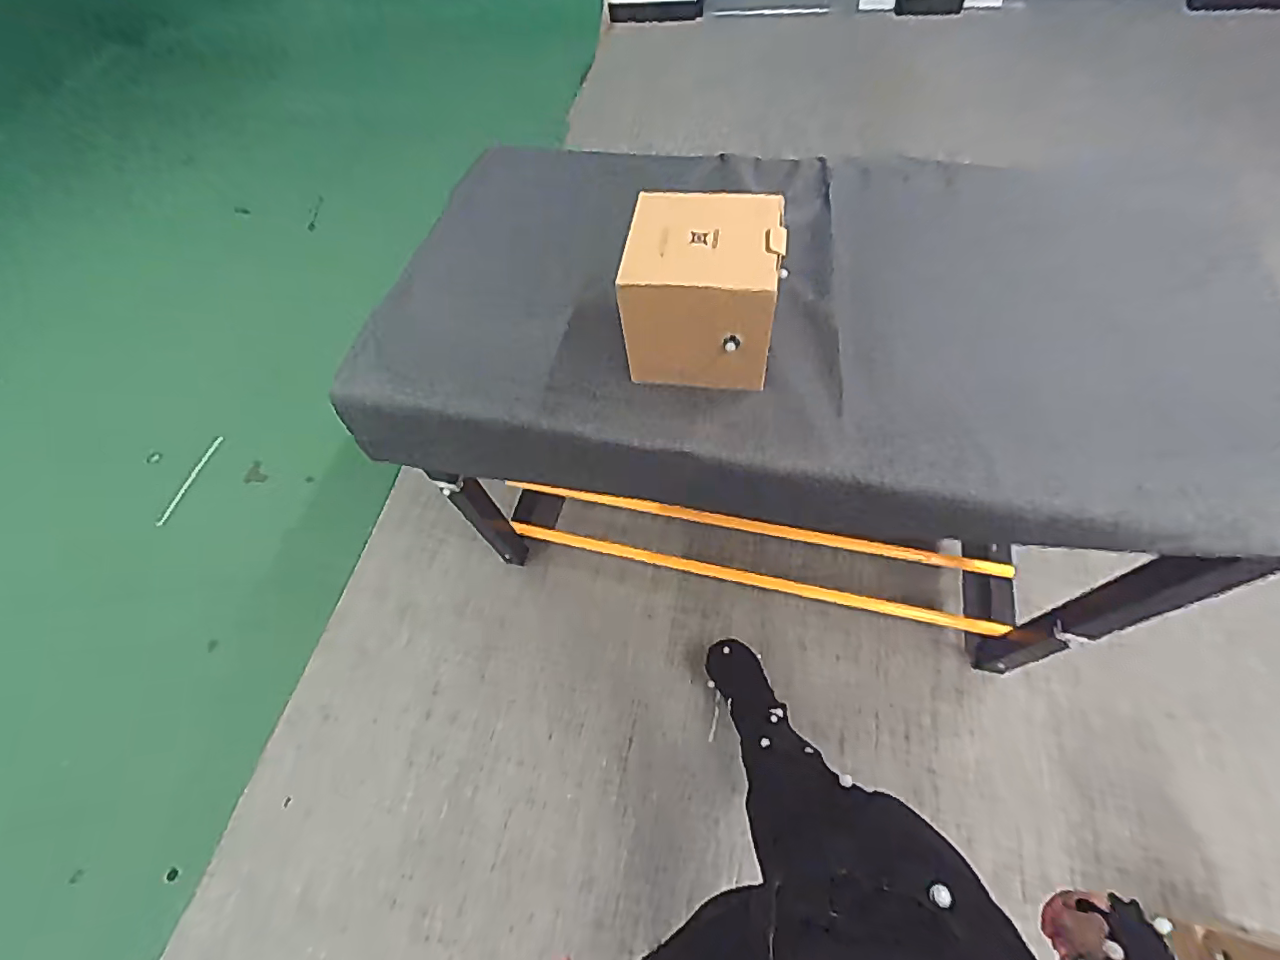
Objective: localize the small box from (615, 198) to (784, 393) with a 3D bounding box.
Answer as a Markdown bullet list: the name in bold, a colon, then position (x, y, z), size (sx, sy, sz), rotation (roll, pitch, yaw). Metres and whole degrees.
- **small box**: position (0.079, -0.226, 0.681), size (0.179, 0.176, 0.168), rotation (5, 60, 10)

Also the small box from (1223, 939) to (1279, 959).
- **small box**: position (0.920, 0.723, 0.692), size (0.179, 0.176, 0.168), rotation (5, 62, 8)

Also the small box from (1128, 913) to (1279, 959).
- **small box**: position (0.926, 0.800, 0.838), size (0.179, 0.176, 0.168), rotation (4, 61, 10)
